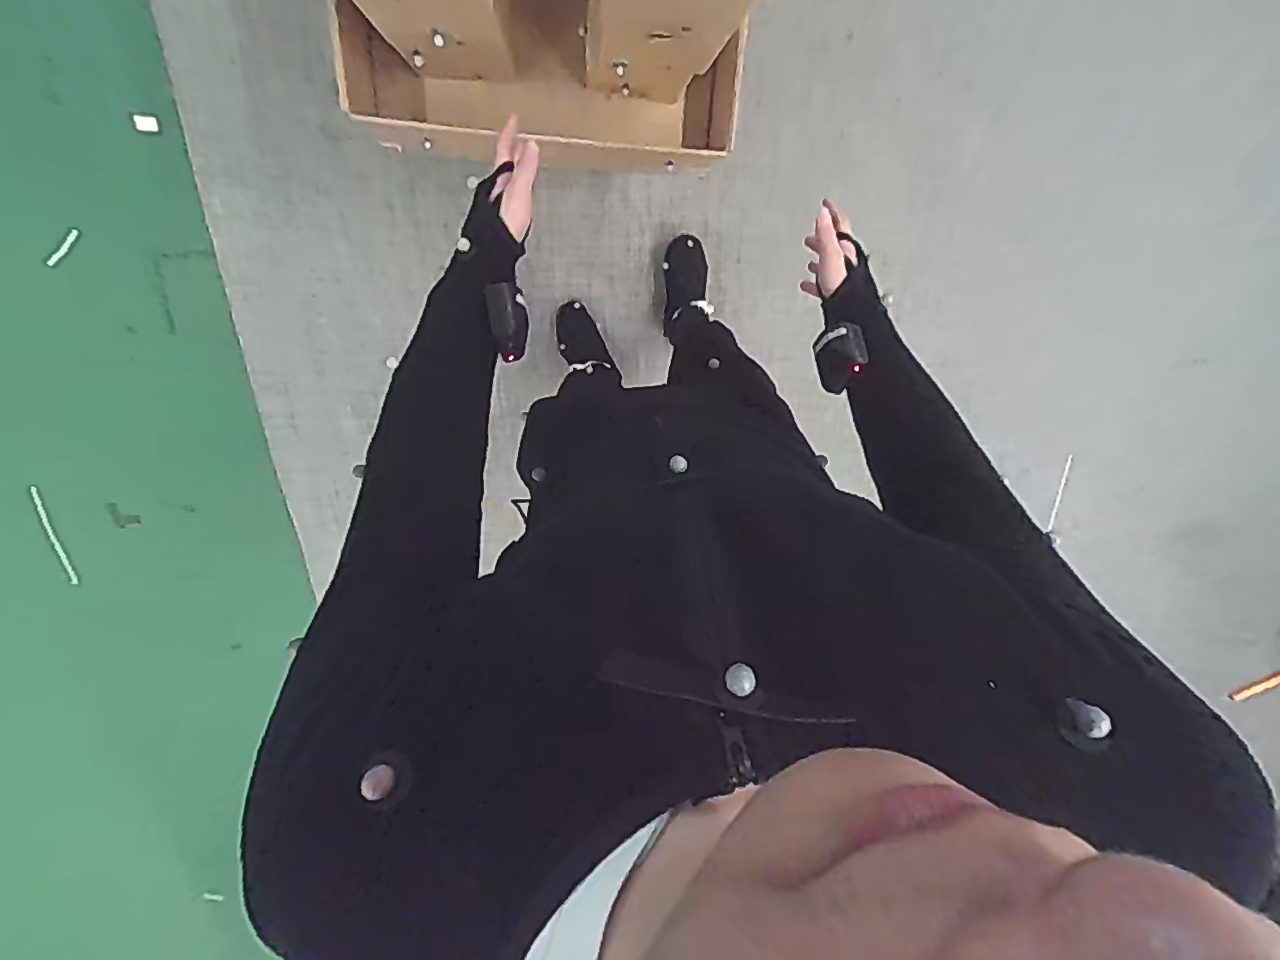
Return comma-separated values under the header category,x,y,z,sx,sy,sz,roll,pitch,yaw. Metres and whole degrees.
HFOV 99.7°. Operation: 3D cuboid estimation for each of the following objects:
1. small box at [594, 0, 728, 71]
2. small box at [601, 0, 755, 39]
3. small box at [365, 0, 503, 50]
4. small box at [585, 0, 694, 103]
category,x,y,z,sx,sy,sz,roll,pitch,yaw
small box,0.027,-0.665,0.707,0.168,0.176,0.179,-2,112,-7
small box,0.045,-0.600,0.557,0.168,0.176,0.179,-1,112,-7
small box,-0.266,-0.673,0.666,0.168,0.176,0.179,-1,111,-6
small box,0.001,-0.732,0.855,0.168,0.176,0.179,3,112,-8
